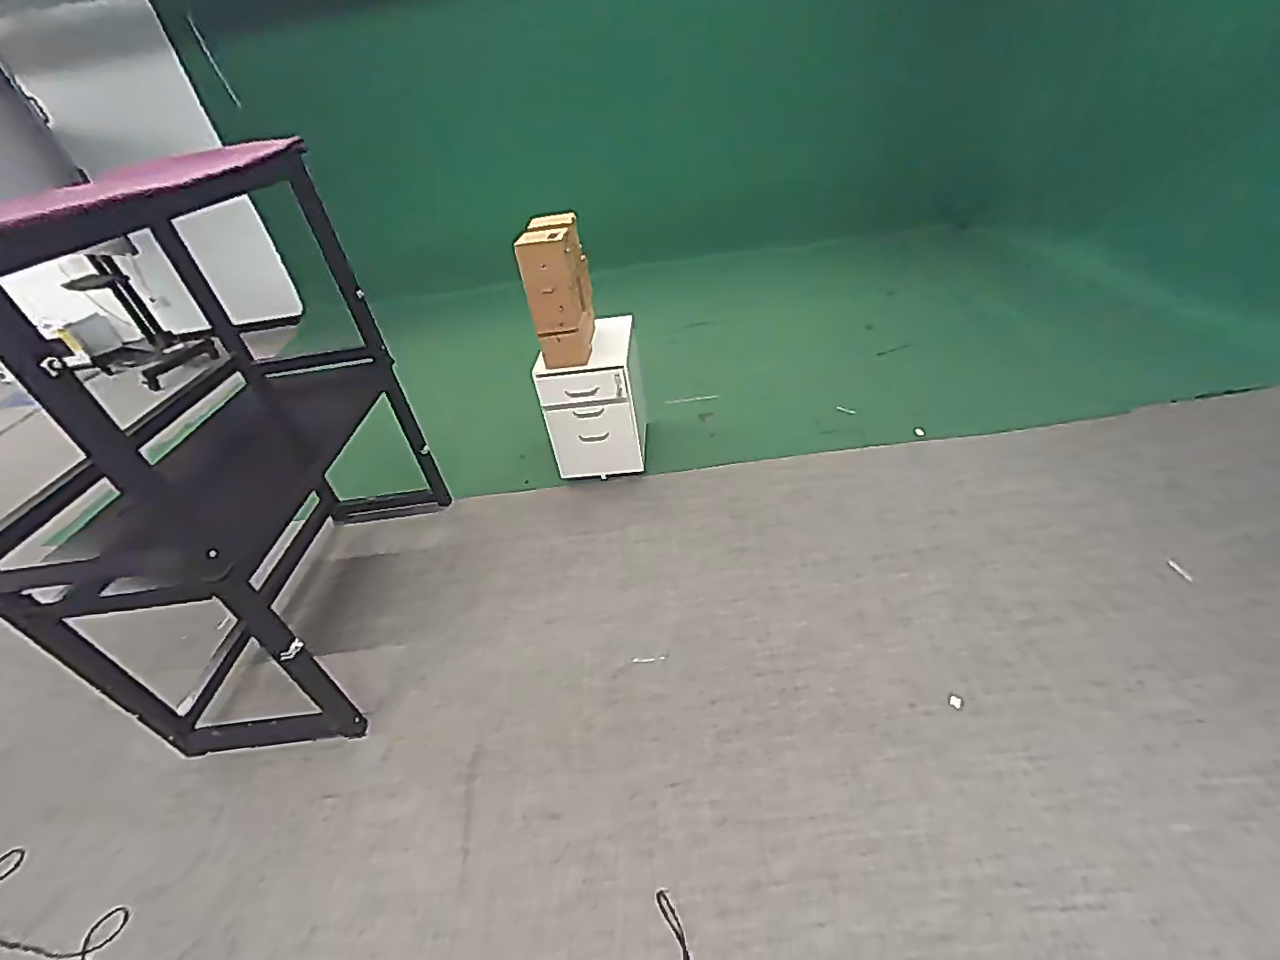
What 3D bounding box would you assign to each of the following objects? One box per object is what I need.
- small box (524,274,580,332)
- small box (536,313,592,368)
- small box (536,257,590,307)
[{"bbox_3d":[-0.335,-0.683,2.104,0.168,0.176,0.179,-4,36,5],"label":"small box"},{"bbox_3d":[-0.307,-0.567,2.215,0.179,0.176,0.168,-3,37,8],"label":"small box"},{"bbox_3d":[-0.323,-0.836,2.303,0.179,0.176,0.168,-2,38,8],"label":"small box"}]
